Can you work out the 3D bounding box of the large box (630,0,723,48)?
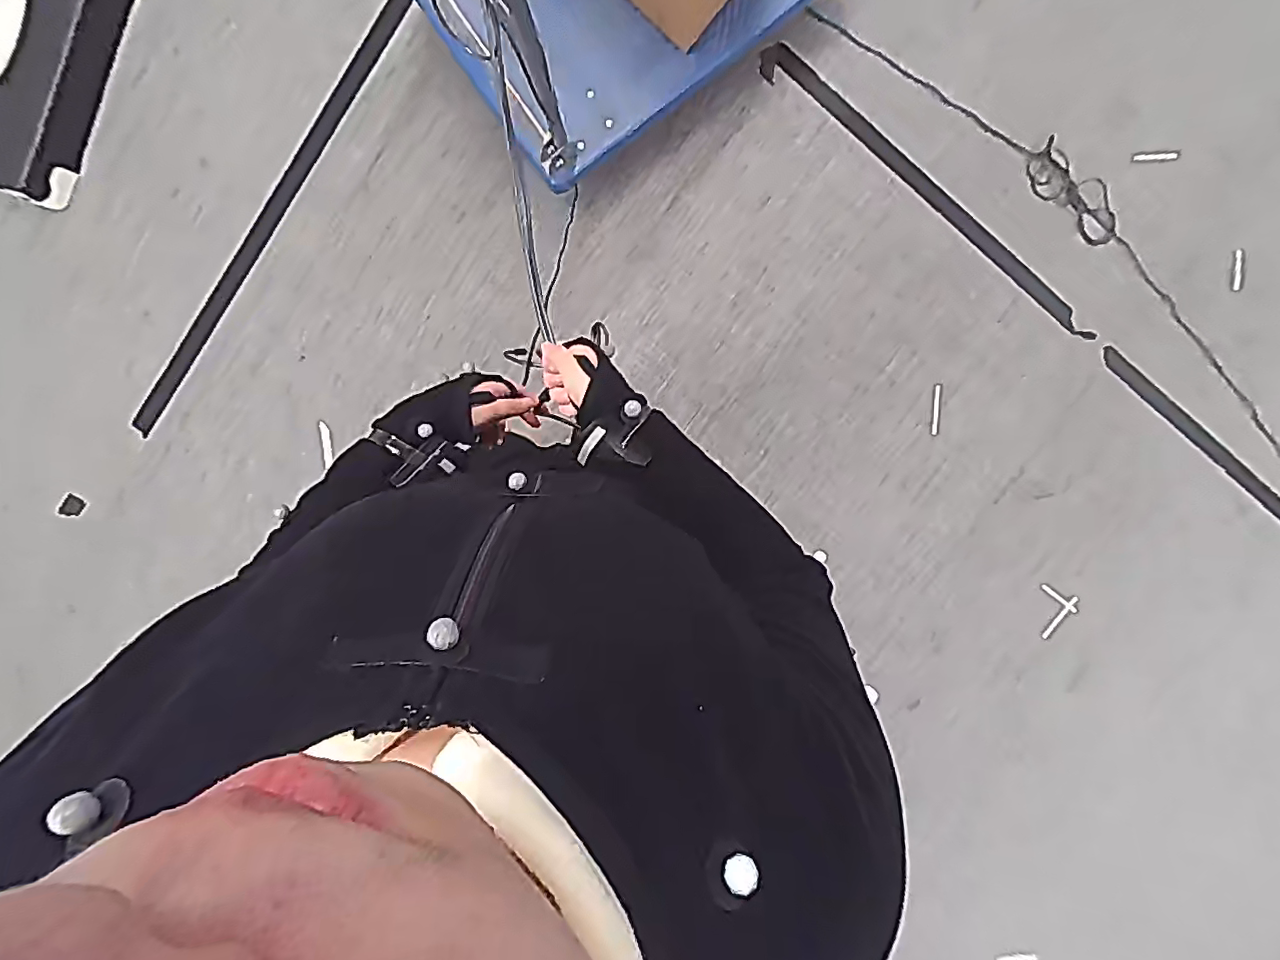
[{"bbox_3d":[0.046,-1.148,0.992,0.408,0.320,0.320,39,96,-8],"label":"large box"}]
